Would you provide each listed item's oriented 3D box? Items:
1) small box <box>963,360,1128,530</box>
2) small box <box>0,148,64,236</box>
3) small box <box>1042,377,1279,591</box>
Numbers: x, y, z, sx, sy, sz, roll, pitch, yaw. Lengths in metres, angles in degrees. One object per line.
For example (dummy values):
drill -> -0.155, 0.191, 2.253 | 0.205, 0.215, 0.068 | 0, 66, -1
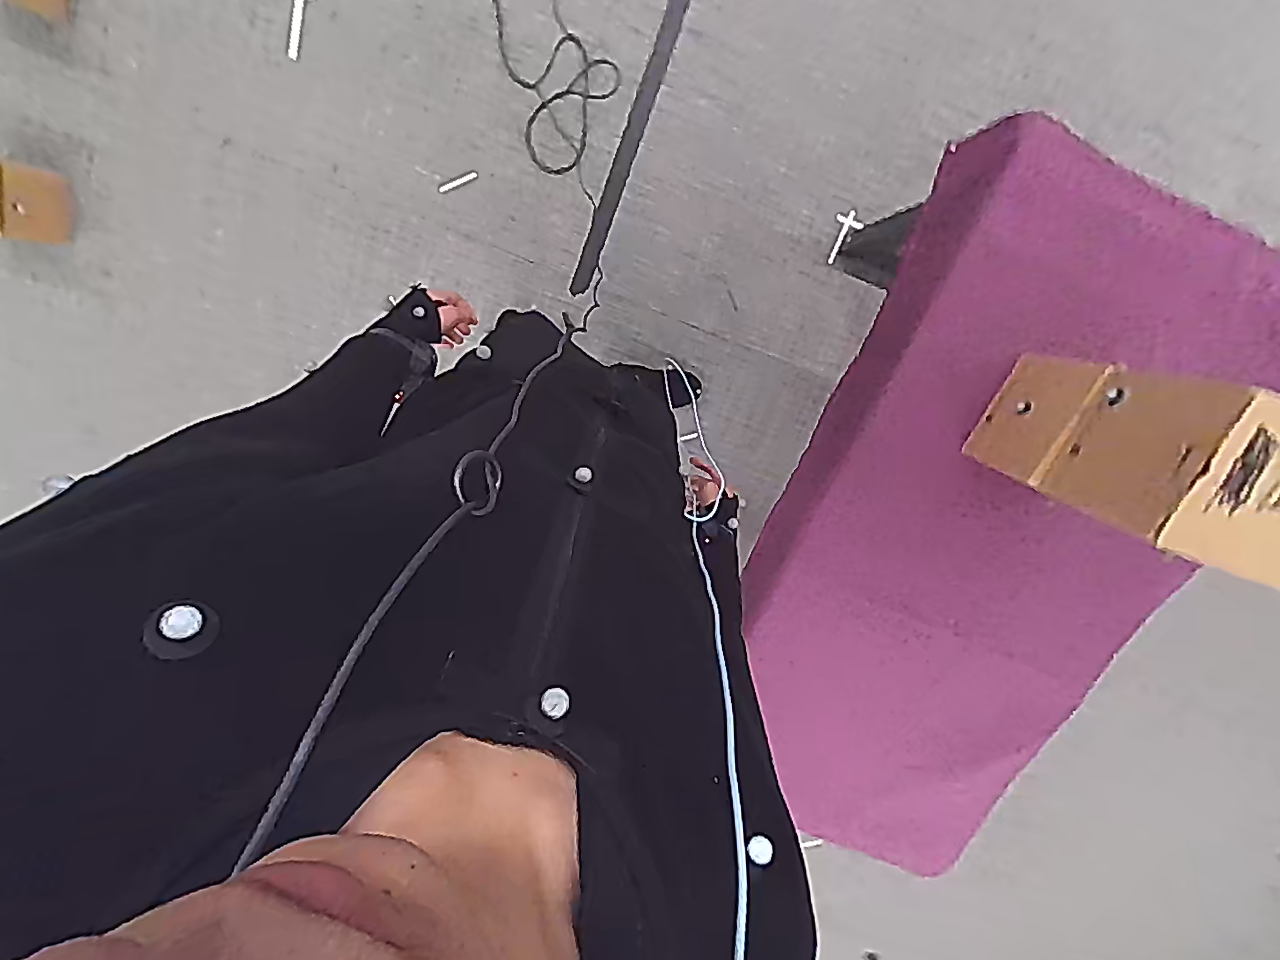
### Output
small box -> 0.609, -0.059, 0.765 | 0.179, 0.176, 0.168 | 24, 107, -6
small box -> -1.638, -0.747, 1.382 | 0.168, 0.176, 0.179 | 20, 108, -5
small box -> 0.617, -0.008, 0.609 | 0.179, 0.176, 0.168 | 20, 108, -5
